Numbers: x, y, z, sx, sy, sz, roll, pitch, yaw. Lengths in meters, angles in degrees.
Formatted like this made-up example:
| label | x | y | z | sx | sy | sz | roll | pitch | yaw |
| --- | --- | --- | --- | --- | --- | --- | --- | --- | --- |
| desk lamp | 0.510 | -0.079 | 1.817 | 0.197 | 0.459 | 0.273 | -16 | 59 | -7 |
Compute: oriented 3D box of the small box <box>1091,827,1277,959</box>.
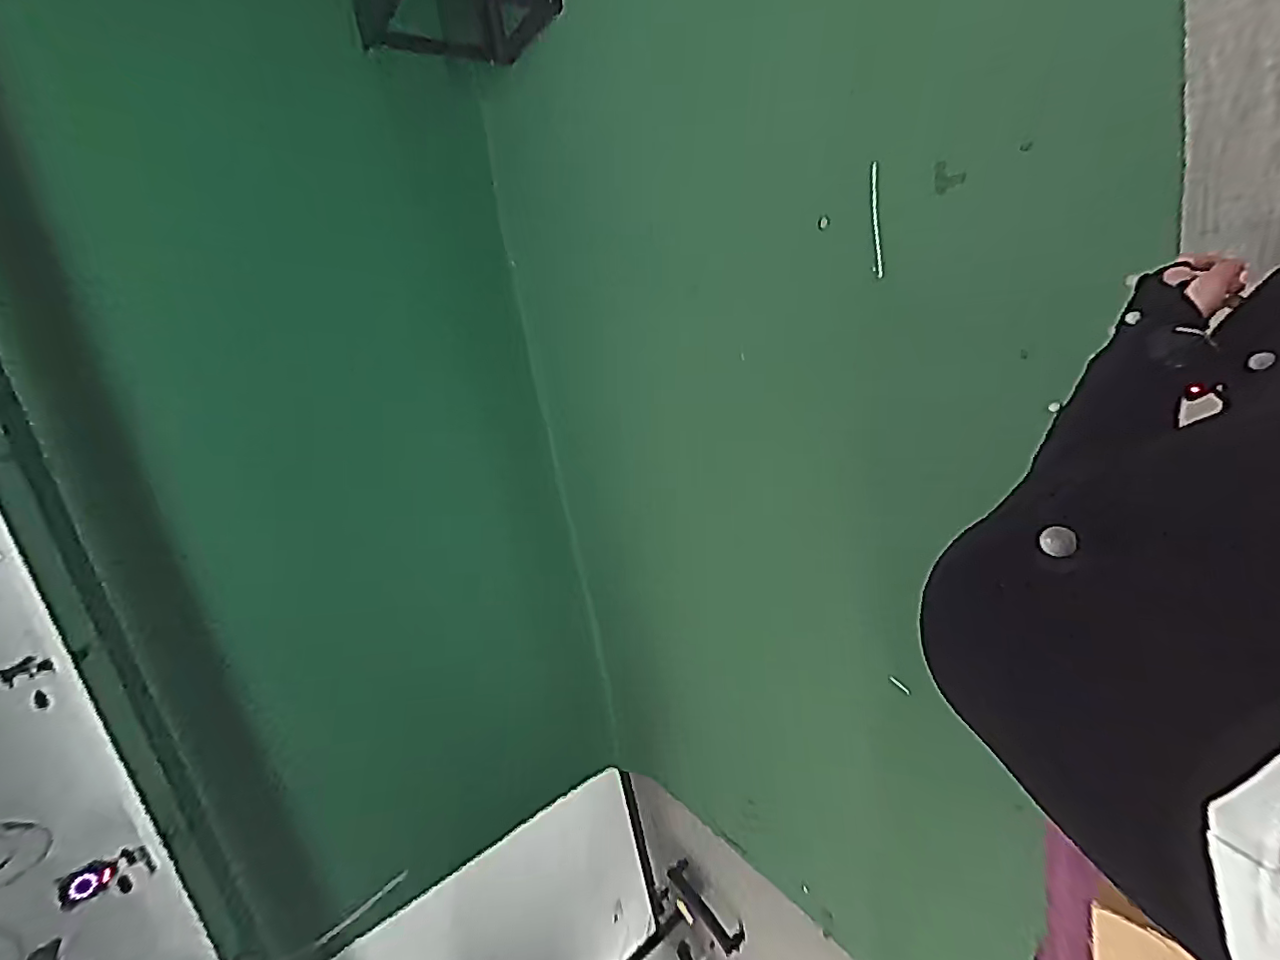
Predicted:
| label | x | y | z | sx | sy | sz | roll | pitch | yaw |
| --- | --- | --- | --- | --- | --- | --- | --- | --- | --- |
| small box | 0.771 | 0.656 | 0.770 | 0.168 | 0.176 | 0.179 | 6 | 112 | 52 |
